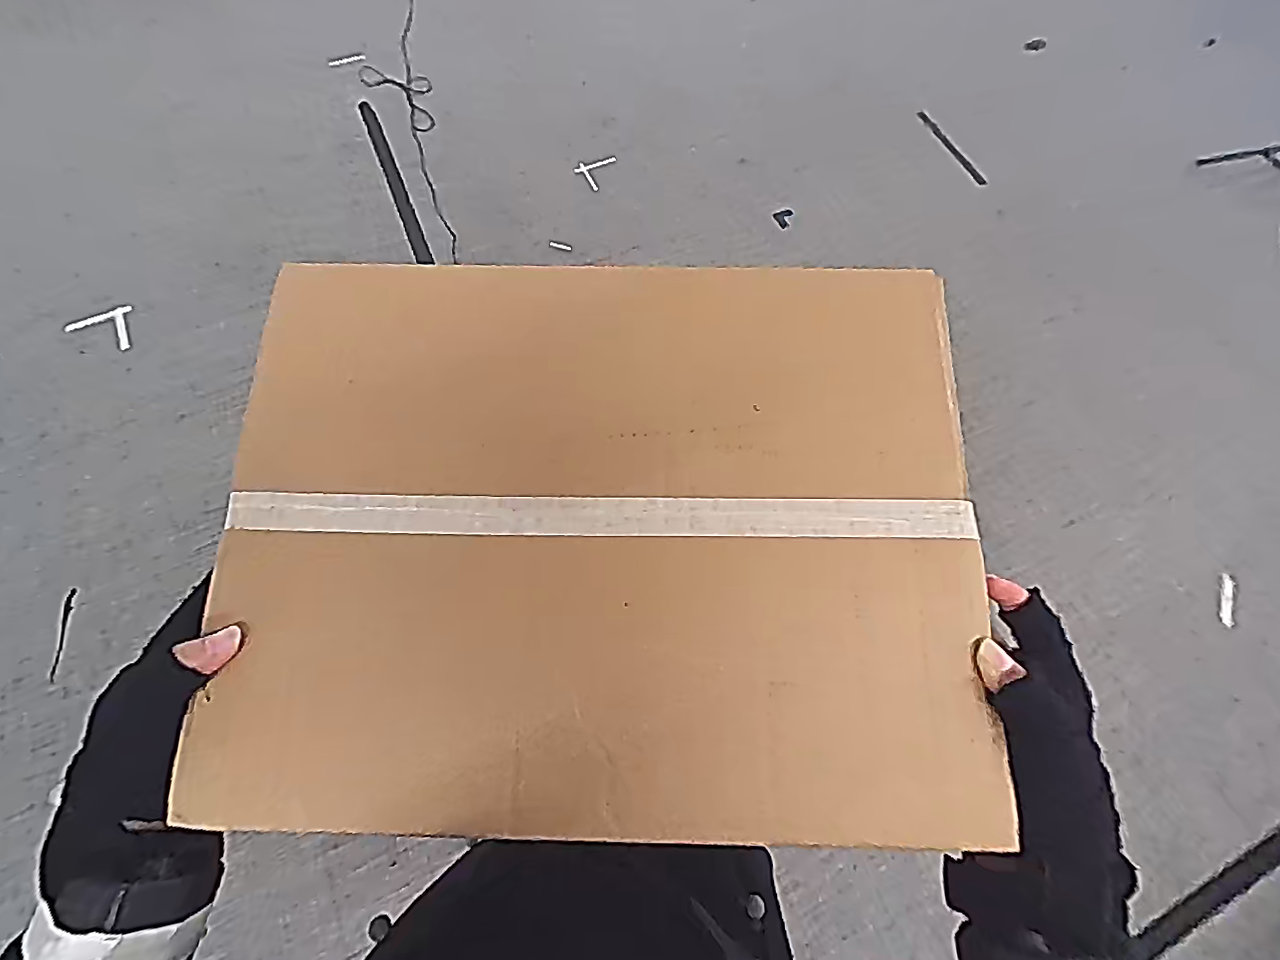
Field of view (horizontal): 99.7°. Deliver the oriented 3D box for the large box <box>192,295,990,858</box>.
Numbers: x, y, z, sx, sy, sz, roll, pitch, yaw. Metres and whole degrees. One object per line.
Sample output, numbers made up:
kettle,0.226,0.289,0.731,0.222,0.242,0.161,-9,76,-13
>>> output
large box,-0.023,0.071,0.446,0.408,0.320,0.320,0,75,1
